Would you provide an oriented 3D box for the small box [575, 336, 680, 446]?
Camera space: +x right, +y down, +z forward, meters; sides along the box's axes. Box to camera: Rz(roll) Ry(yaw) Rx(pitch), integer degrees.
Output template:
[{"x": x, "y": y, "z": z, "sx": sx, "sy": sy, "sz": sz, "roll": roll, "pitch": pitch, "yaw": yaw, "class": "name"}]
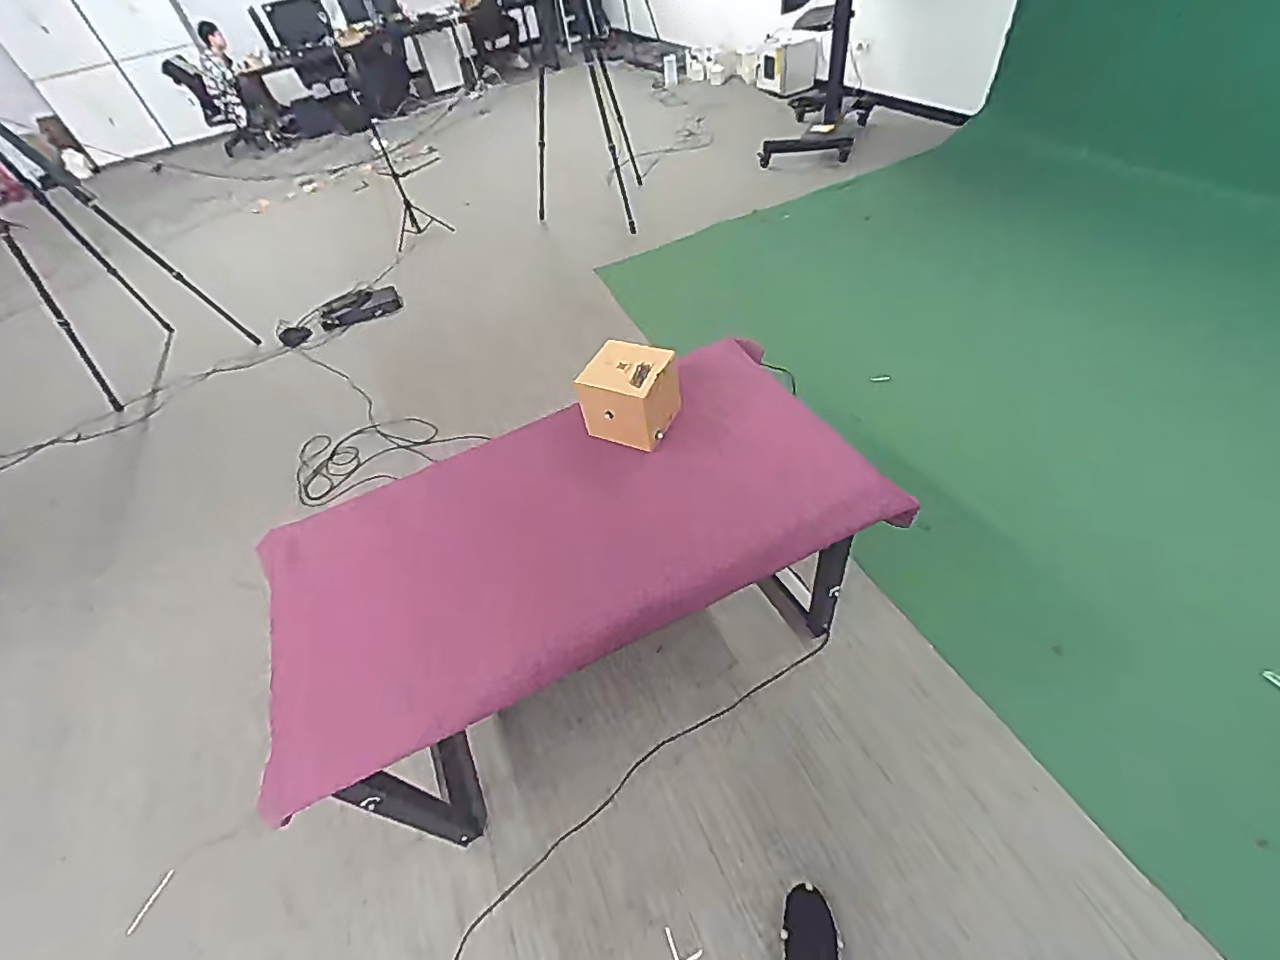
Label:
[{"x": -0.020, "y": -0.200, "z": 1.243, "sx": 0.179, "sy": 0.176, "sz": 0.168, "roll": 17, "pitch": 55, "yaw": 23, "class": "small box"}]
